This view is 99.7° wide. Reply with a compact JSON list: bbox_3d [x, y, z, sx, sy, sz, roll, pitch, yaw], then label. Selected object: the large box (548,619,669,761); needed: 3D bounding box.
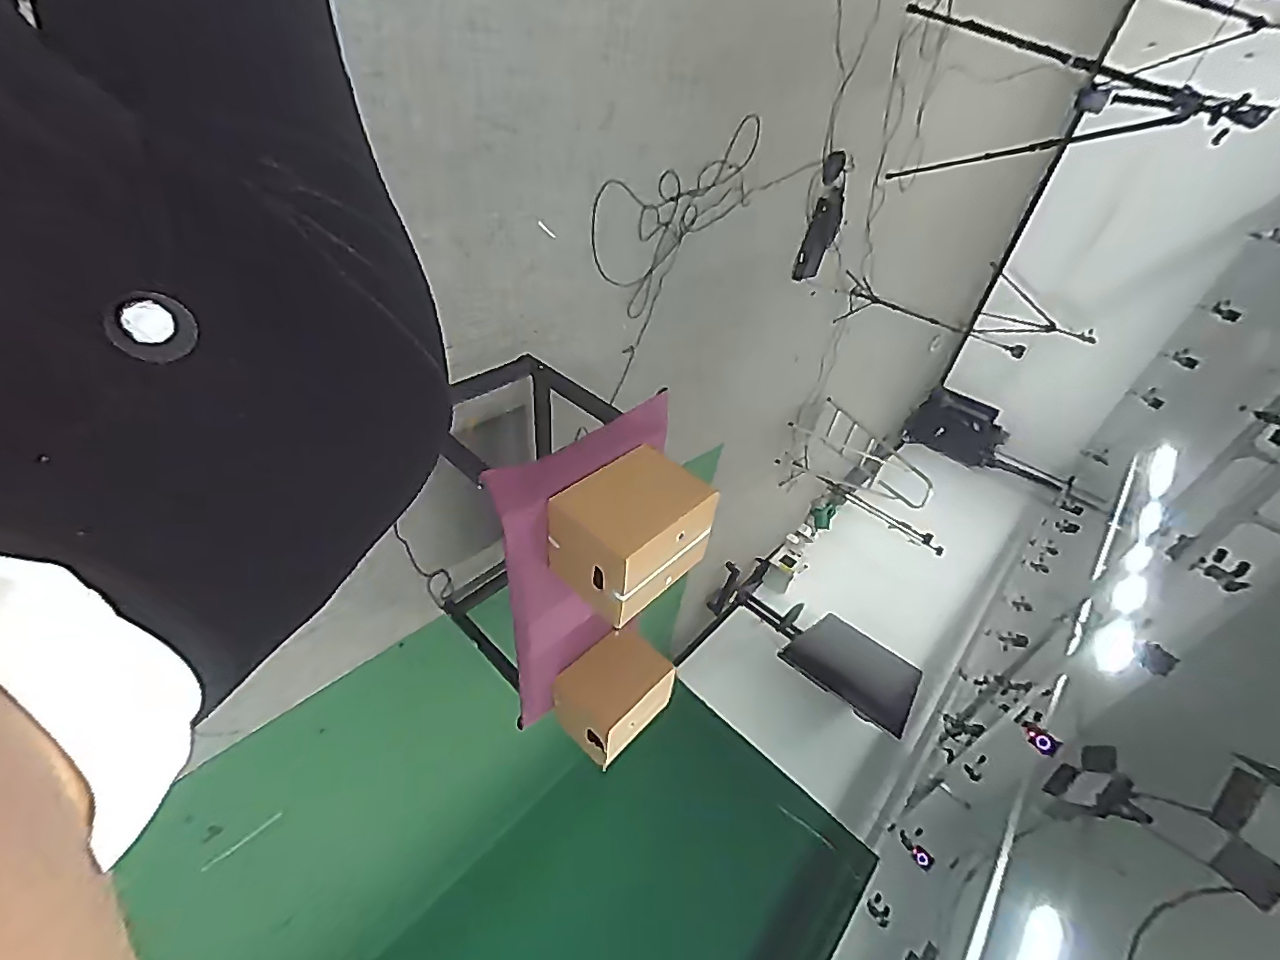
[{"bbox_3d":[-0.137,0.875,2.296,0.408,0.320,0.320,-31,142,-38],"label":"large box"}]
